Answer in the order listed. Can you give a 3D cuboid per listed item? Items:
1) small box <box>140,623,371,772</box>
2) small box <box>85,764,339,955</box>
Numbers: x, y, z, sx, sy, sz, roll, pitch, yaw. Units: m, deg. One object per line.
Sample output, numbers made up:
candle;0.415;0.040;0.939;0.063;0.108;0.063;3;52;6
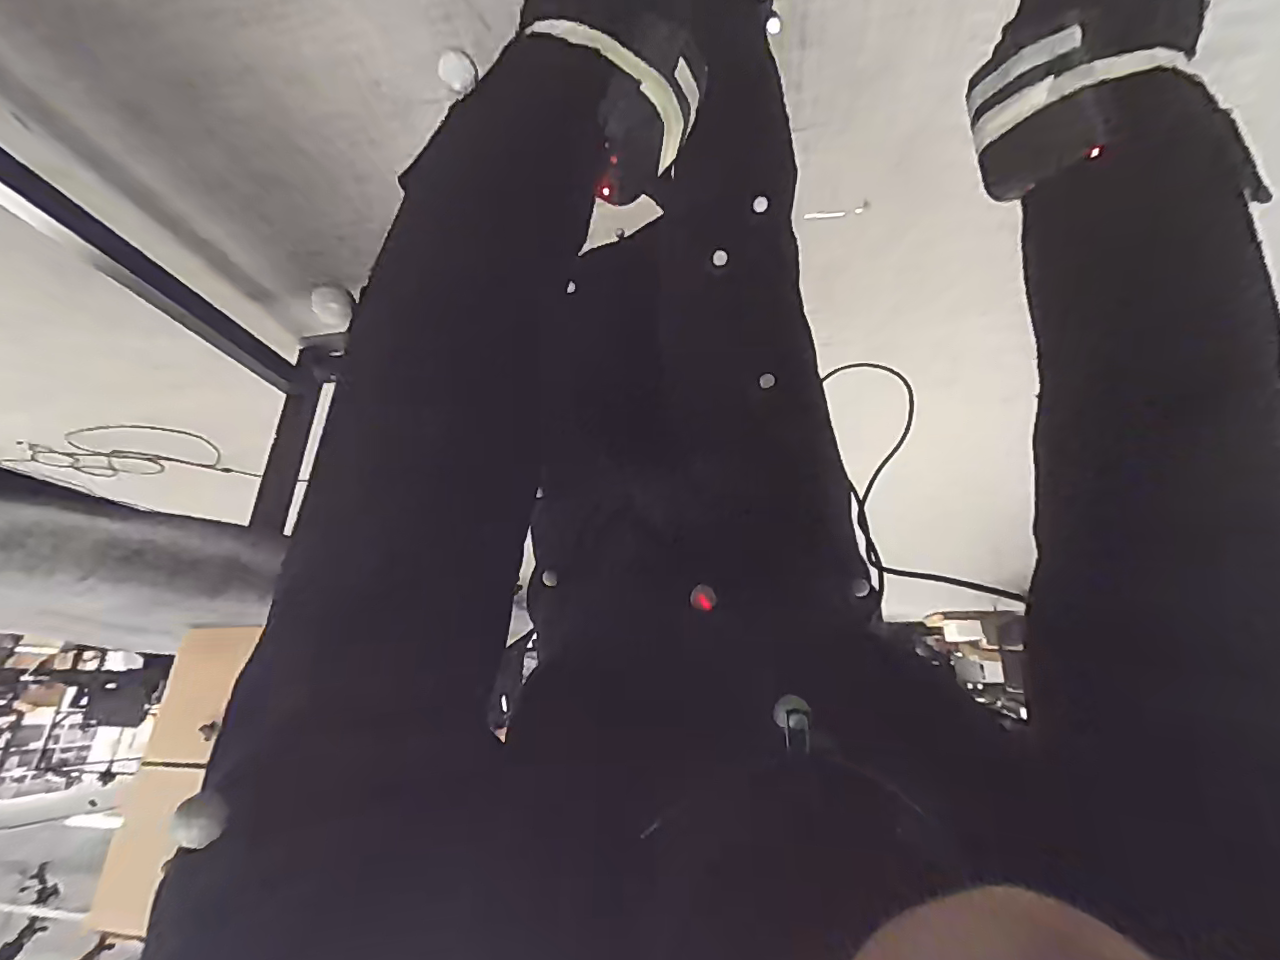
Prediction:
small box;-0.504;0.294;0.738;0.179;0.176;0.168;-4;157;12
small box;-0.506;0.443;0.670;0.179;0.176;0.168;-5;156;13
